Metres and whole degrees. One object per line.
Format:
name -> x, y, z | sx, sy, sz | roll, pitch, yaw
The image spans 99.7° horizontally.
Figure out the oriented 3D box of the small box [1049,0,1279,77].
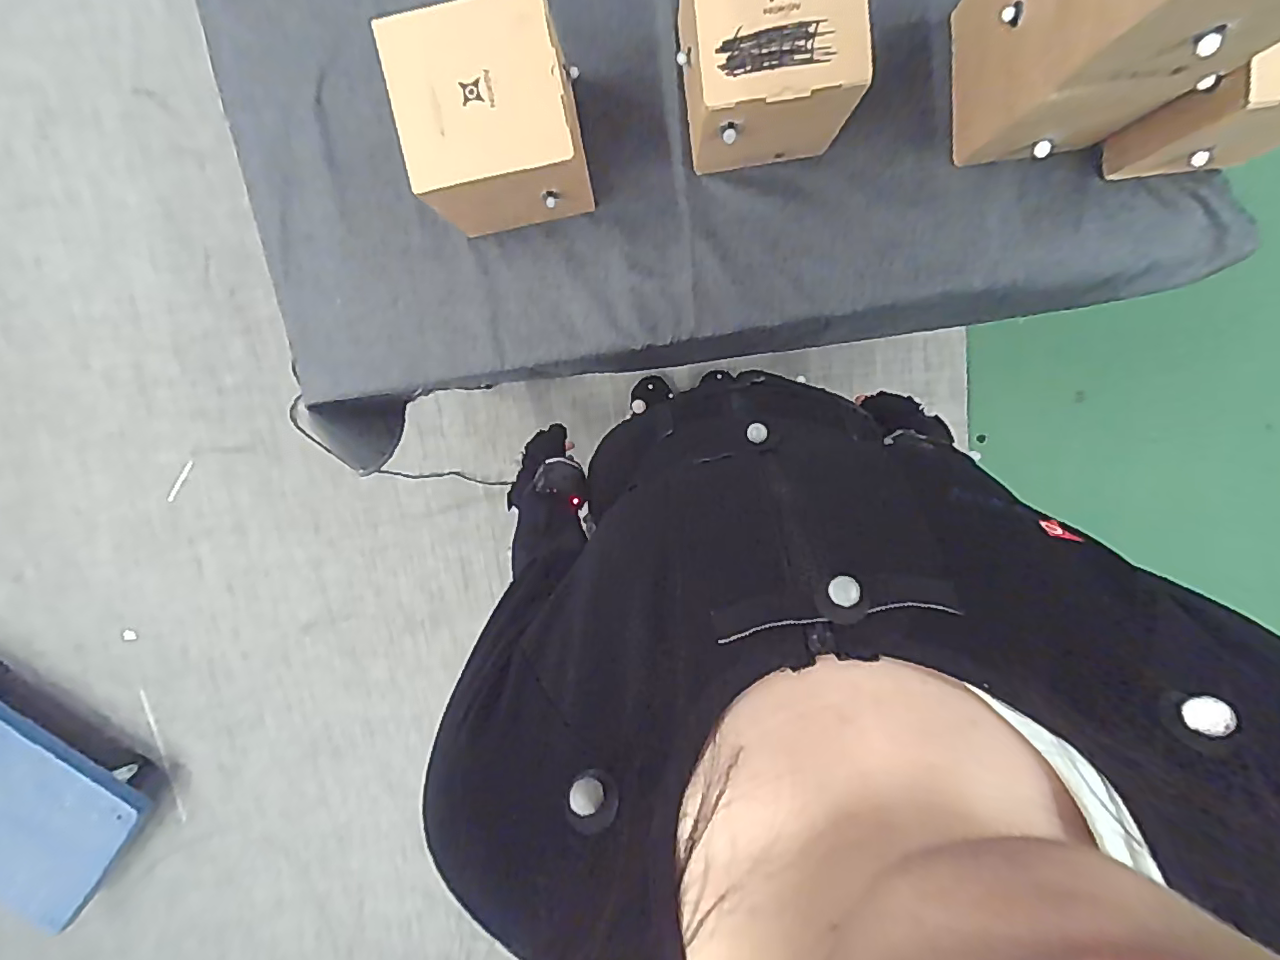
small box -> 0.458, -0.450, 0.420 | 0.168, 0.176, 0.179 | -5, 99, 3
